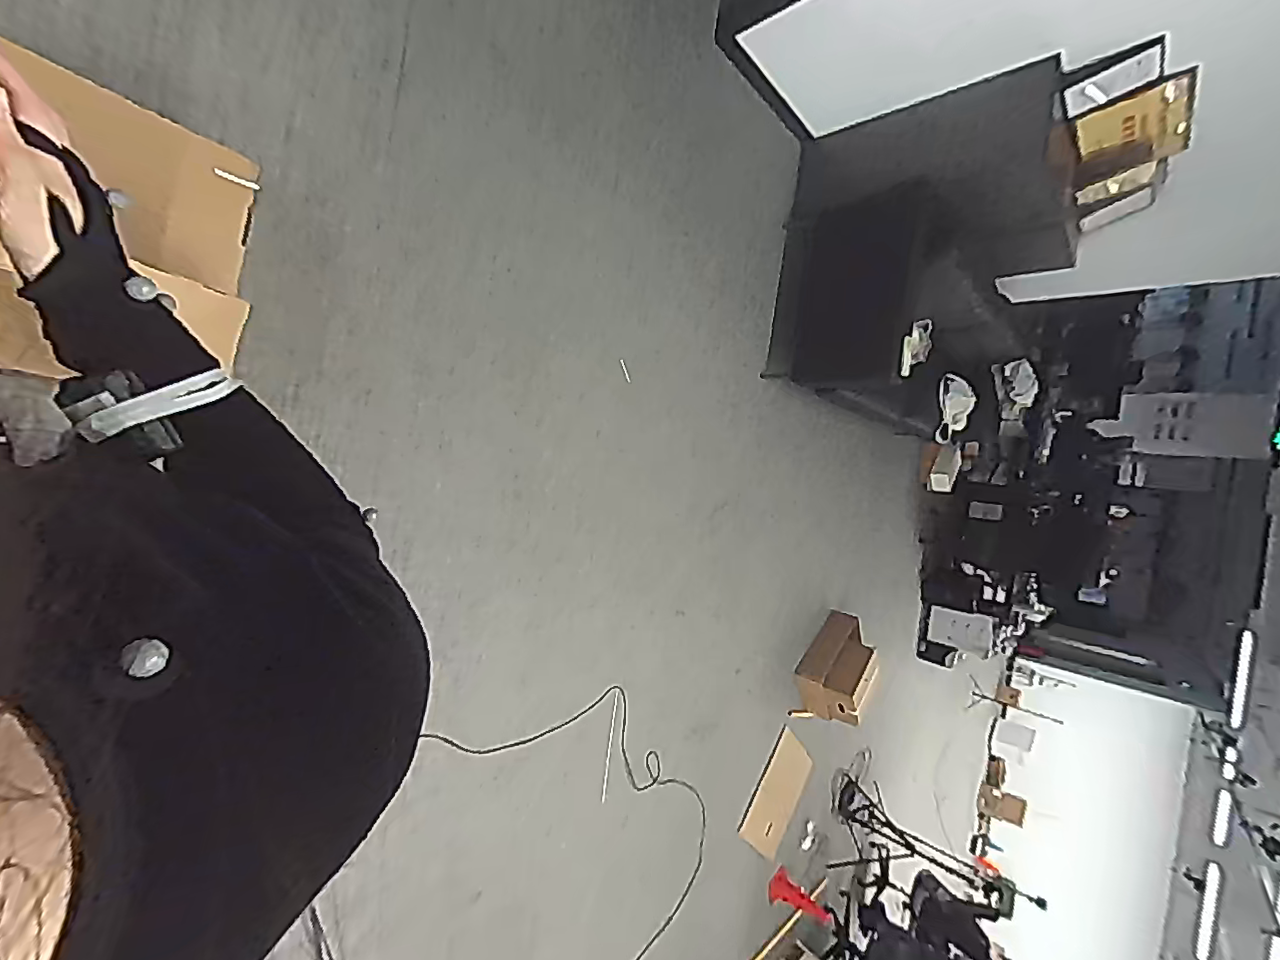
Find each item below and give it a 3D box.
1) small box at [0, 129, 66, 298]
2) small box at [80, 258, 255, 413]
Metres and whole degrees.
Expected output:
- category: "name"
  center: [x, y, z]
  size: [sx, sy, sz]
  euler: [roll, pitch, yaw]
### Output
- category: "small box"
  center: [-0.869, -0.353, 0.692]
  size: [0.168, 0.176, 0.179]
  euler: [13, 84, -47]
- category: "small box"
  center: [-0.738, -0.211, 0.843]
  size: [0.168, 0.176, 0.179]
  euler: [16, 82, -47]
